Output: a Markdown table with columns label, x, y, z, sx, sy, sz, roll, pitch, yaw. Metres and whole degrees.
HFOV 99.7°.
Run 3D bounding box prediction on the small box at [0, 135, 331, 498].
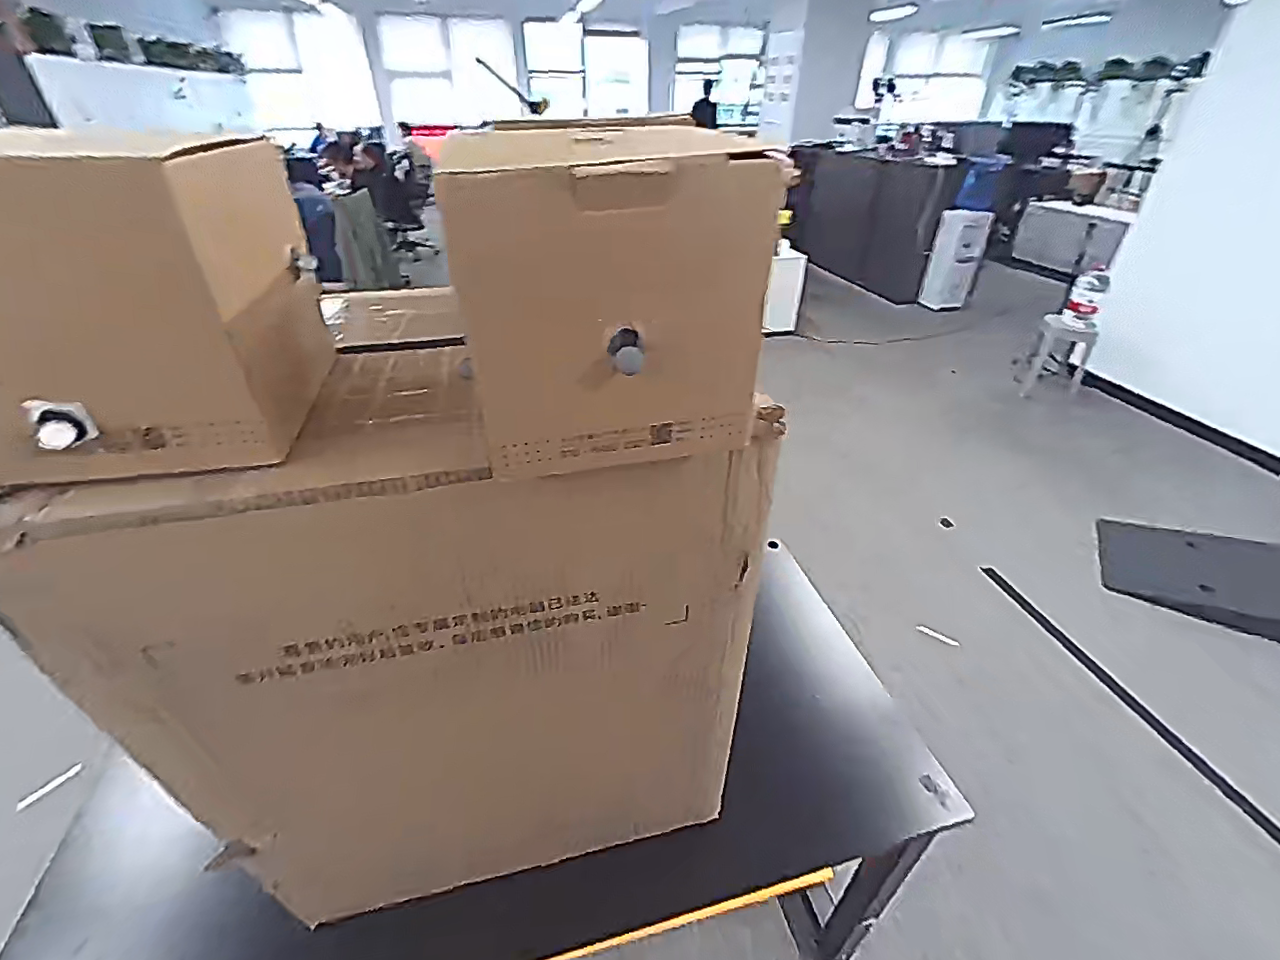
| label | x | y | z | sx | sy | sz | roll | pitch | yaw |
| --- | --- | --- | --- | --- | --- | --- | --- | --- | --- |
| small box | -0.316 | -0.110 | 0.339 | 0.168 | 0.176 | 0.179 | -7 | 37 | -13 |

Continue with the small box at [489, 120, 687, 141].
| label | x | y | z | sx | sy | sz | roll | pitch | yaw |
| --- | --- | --- | --- | --- | --- | --- | --- | --- | --- |
| small box | -0.057 | -0.261 | 0.550 | 0.168 | 0.176 | 0.179 | -10 | 33 | -11 |

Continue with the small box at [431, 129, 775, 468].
| label | x | y | z | sx | sy | sz | roll | pitch | yaw |
| --- | --- | --- | --- | --- | --- | --- | --- | --- | --- |
| small box | -0.029 | -0.120 | 0.358 | 0.168 | 0.176 | 0.179 | -9 | 38 | -11 |
